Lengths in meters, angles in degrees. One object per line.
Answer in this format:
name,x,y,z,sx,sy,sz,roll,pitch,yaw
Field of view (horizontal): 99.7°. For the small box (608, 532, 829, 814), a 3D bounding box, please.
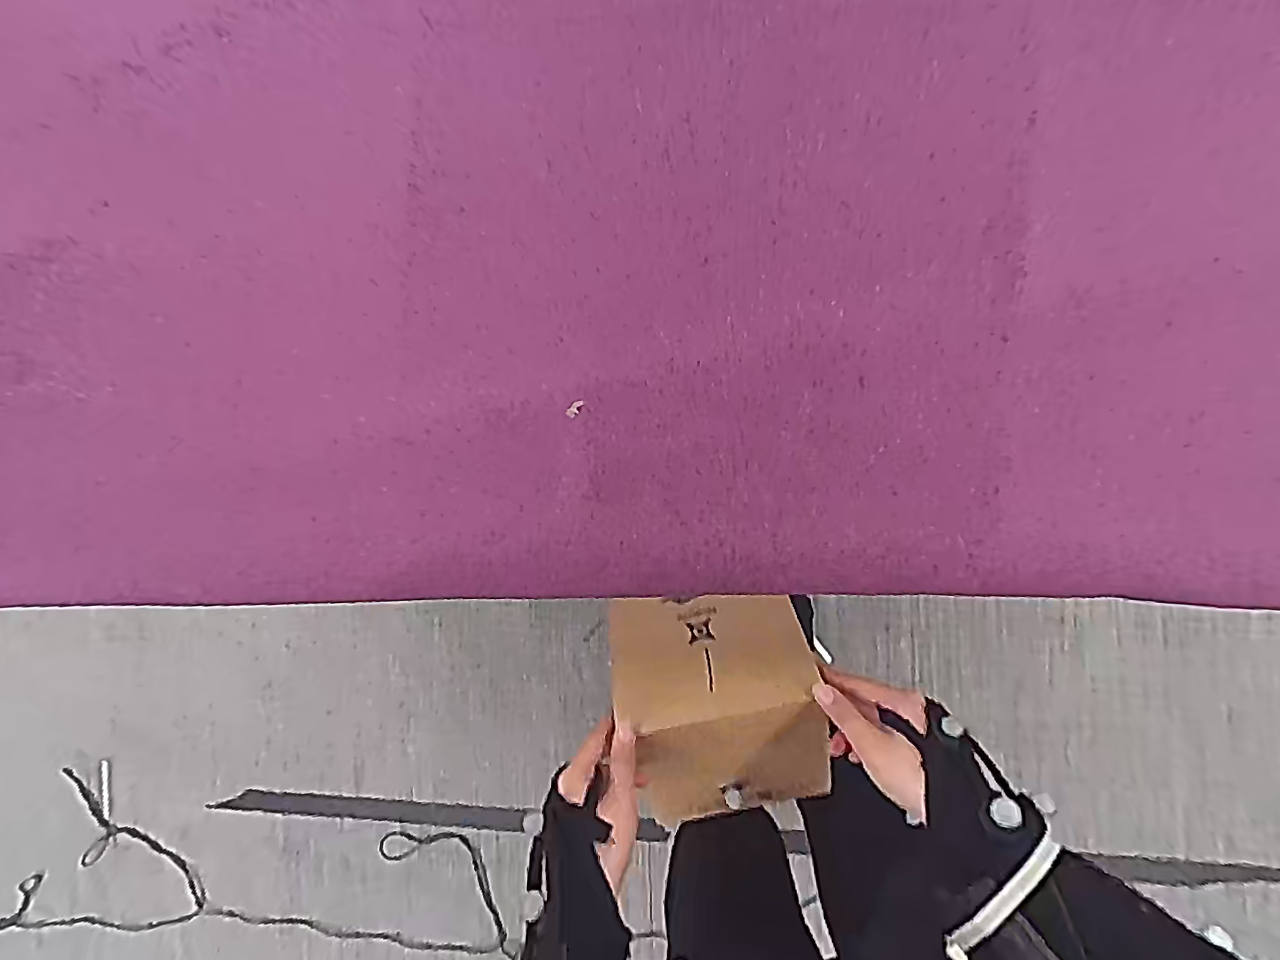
small box,0.069,0.182,0.518,0.168,0.179,0.176,-13,127,4
